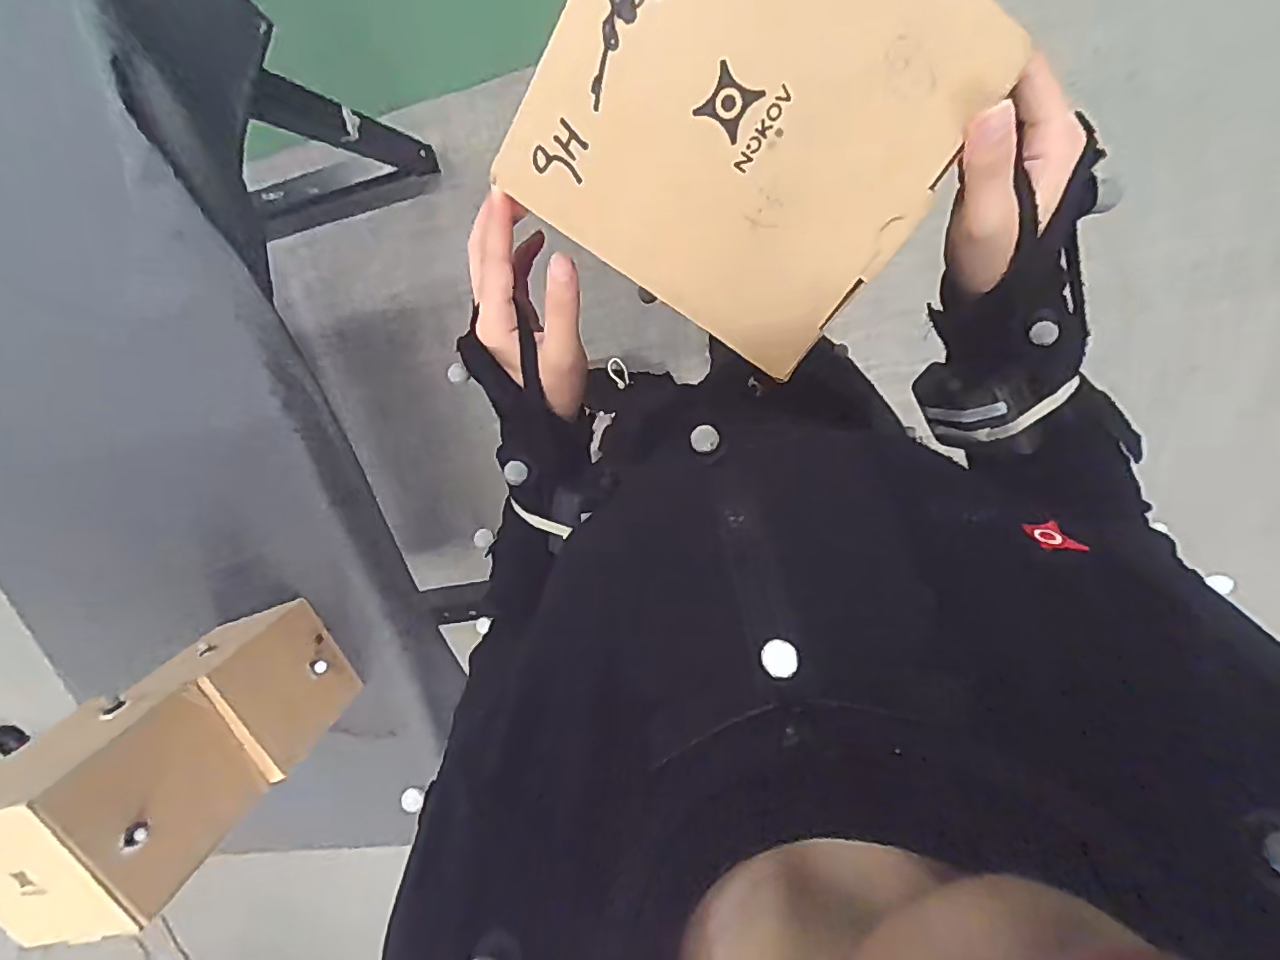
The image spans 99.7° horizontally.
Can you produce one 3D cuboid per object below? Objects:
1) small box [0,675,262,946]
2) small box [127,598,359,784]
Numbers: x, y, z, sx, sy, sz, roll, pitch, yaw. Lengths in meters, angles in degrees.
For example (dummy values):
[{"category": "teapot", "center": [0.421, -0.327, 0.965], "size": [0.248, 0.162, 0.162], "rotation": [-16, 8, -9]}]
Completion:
[{"category": "small box", "center": [-0.562, 0.344, 0.578], "size": [0.168, 0.176, 0.179], "rotation": [-16, 107, 11]}, {"category": "small box", "center": [-0.528, 0.287, 0.727], "size": [0.179, 0.176, 0.168], "rotation": [-20, 107, 13]}]
